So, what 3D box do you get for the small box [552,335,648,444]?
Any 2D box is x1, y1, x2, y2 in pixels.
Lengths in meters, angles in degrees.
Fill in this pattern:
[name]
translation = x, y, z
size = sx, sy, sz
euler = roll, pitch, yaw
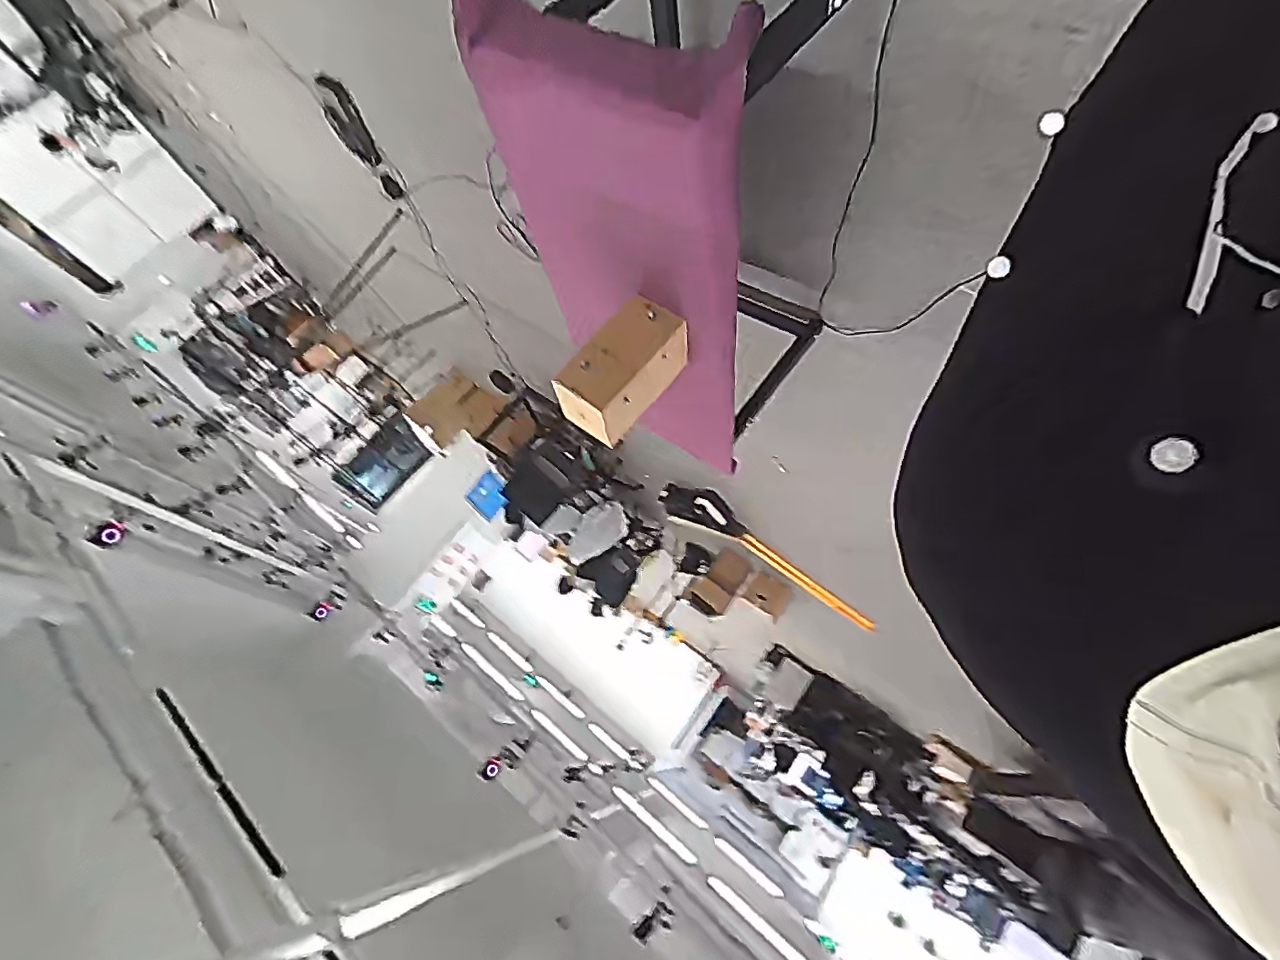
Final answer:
[small box]
translation = -0.093, -0.231, 1.365
size = 0.168, 0.176, 0.179
euler = 35, 162, 19
